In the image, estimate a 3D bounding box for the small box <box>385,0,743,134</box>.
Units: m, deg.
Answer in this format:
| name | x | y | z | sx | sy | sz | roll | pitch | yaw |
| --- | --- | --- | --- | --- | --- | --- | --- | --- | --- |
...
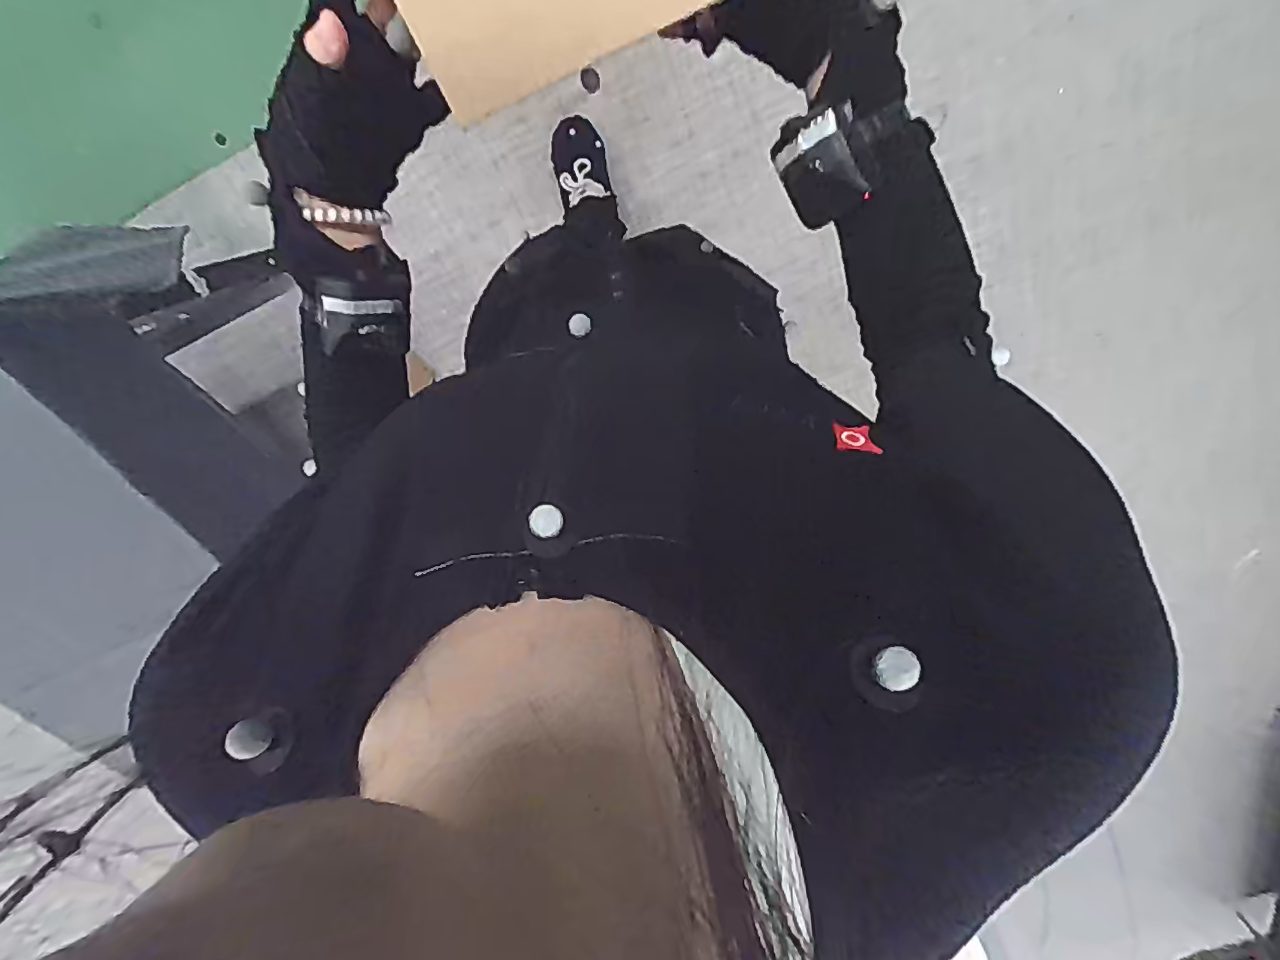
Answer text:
| name | x | y | z | sx | sy | sz | roll | pitch | yaw |
| --- | --- | --- | --- | --- | --- | --- | --- | --- | --- |
| small box | -0.061 | -0.314 | 0.274 | 0.168 | 0.176 | 0.179 | -22 | 129 | 6 |
